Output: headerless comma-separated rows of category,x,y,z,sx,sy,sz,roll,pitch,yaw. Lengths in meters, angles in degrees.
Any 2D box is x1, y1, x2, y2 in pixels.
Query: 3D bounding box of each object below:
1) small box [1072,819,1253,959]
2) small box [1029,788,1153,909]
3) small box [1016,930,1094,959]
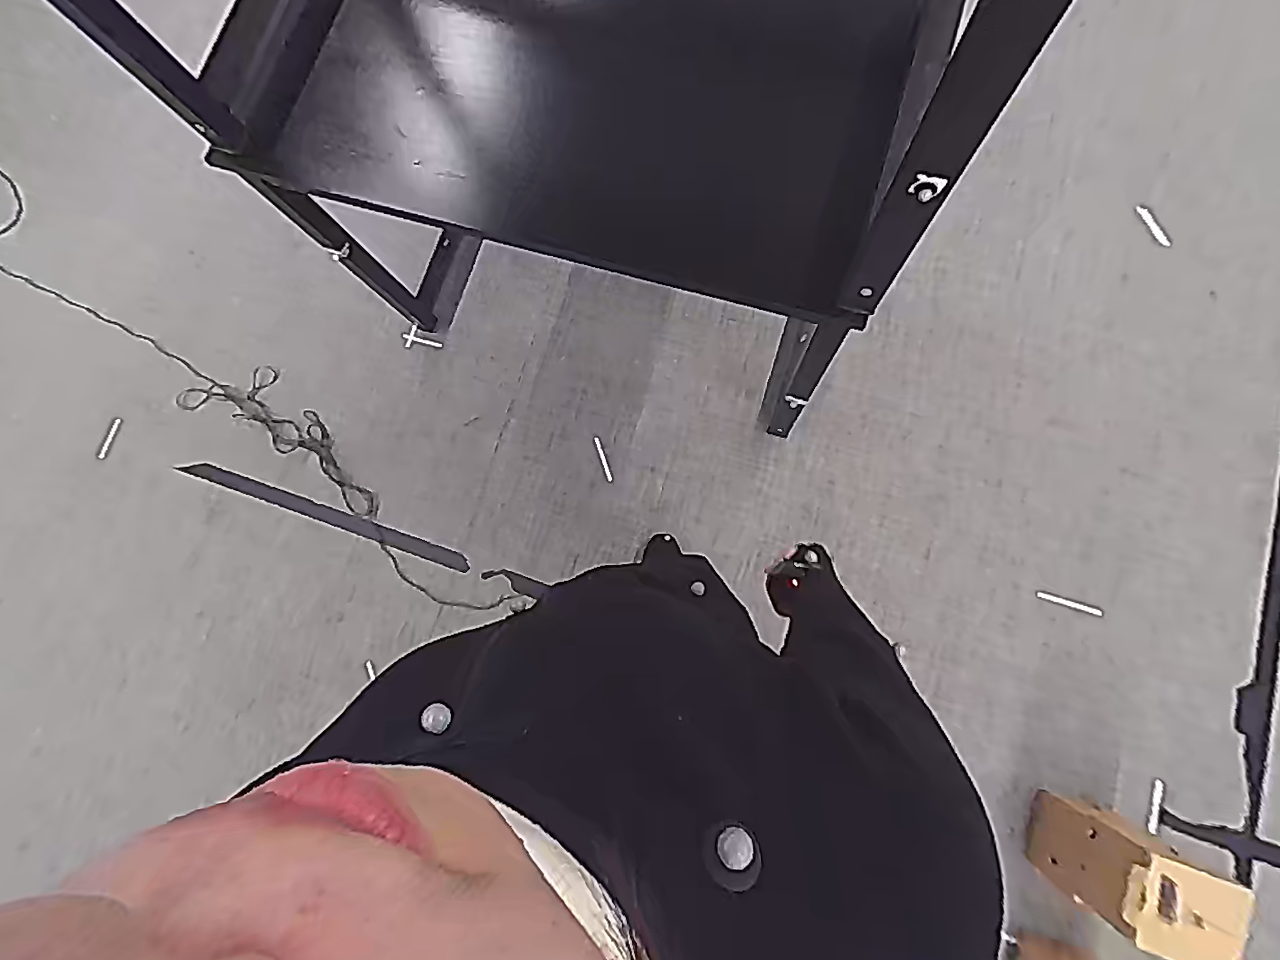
small box,0.993,0.796,1.045,0.179,0.176,0.168,18,84,8
small box,1.011,0.831,1.204,0.168,0.176,0.179,16,83,8
small box,0.933,1.139,1.162,0.168,0.176,0.179,17,84,8
